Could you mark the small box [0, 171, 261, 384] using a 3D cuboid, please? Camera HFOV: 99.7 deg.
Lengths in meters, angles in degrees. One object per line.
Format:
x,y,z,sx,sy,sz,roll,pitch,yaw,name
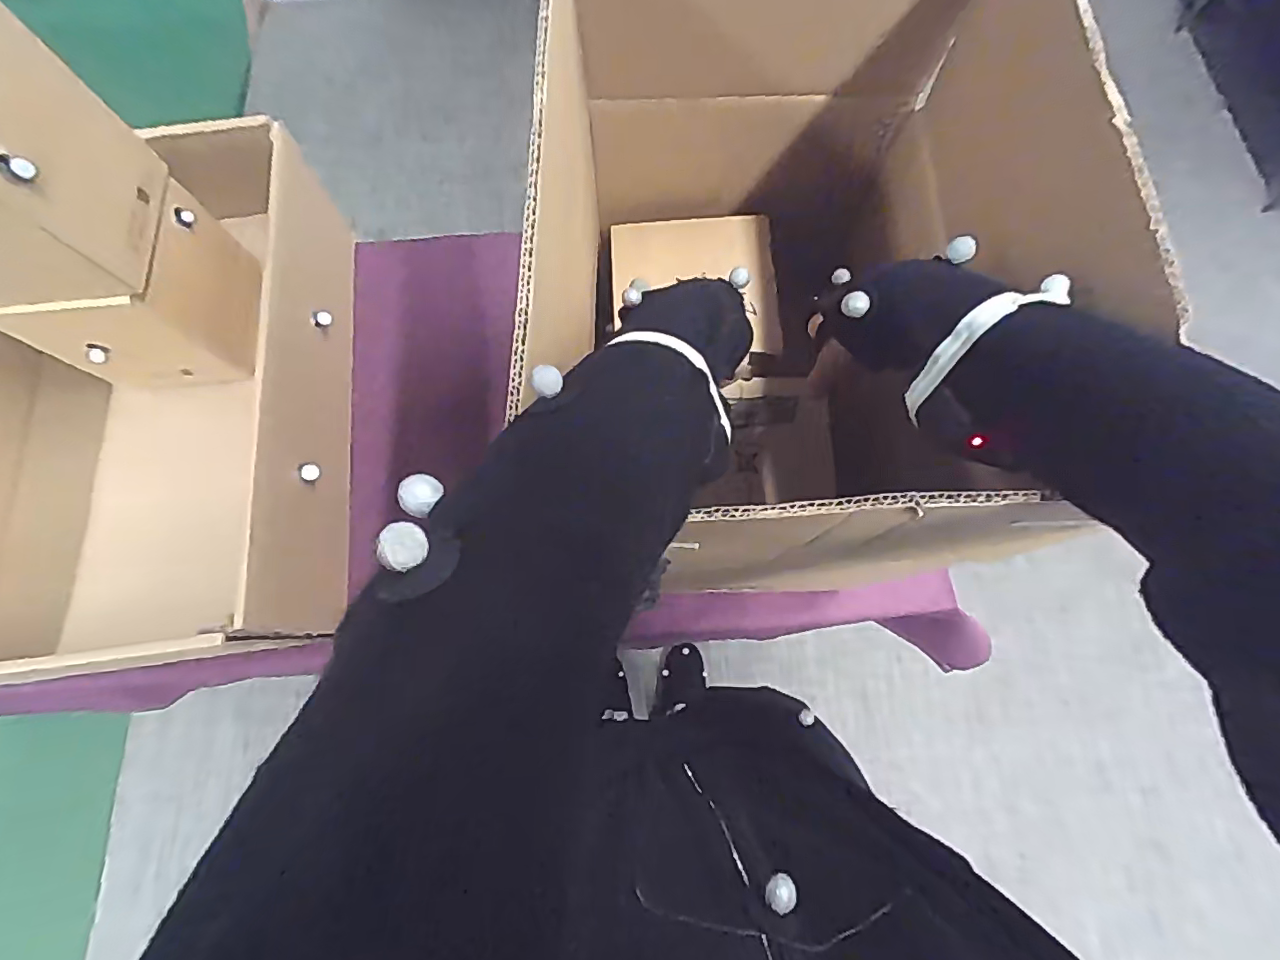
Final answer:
-0.592,-0.225,0.643,0.168,0.176,0.179,-5,73,1,small box
